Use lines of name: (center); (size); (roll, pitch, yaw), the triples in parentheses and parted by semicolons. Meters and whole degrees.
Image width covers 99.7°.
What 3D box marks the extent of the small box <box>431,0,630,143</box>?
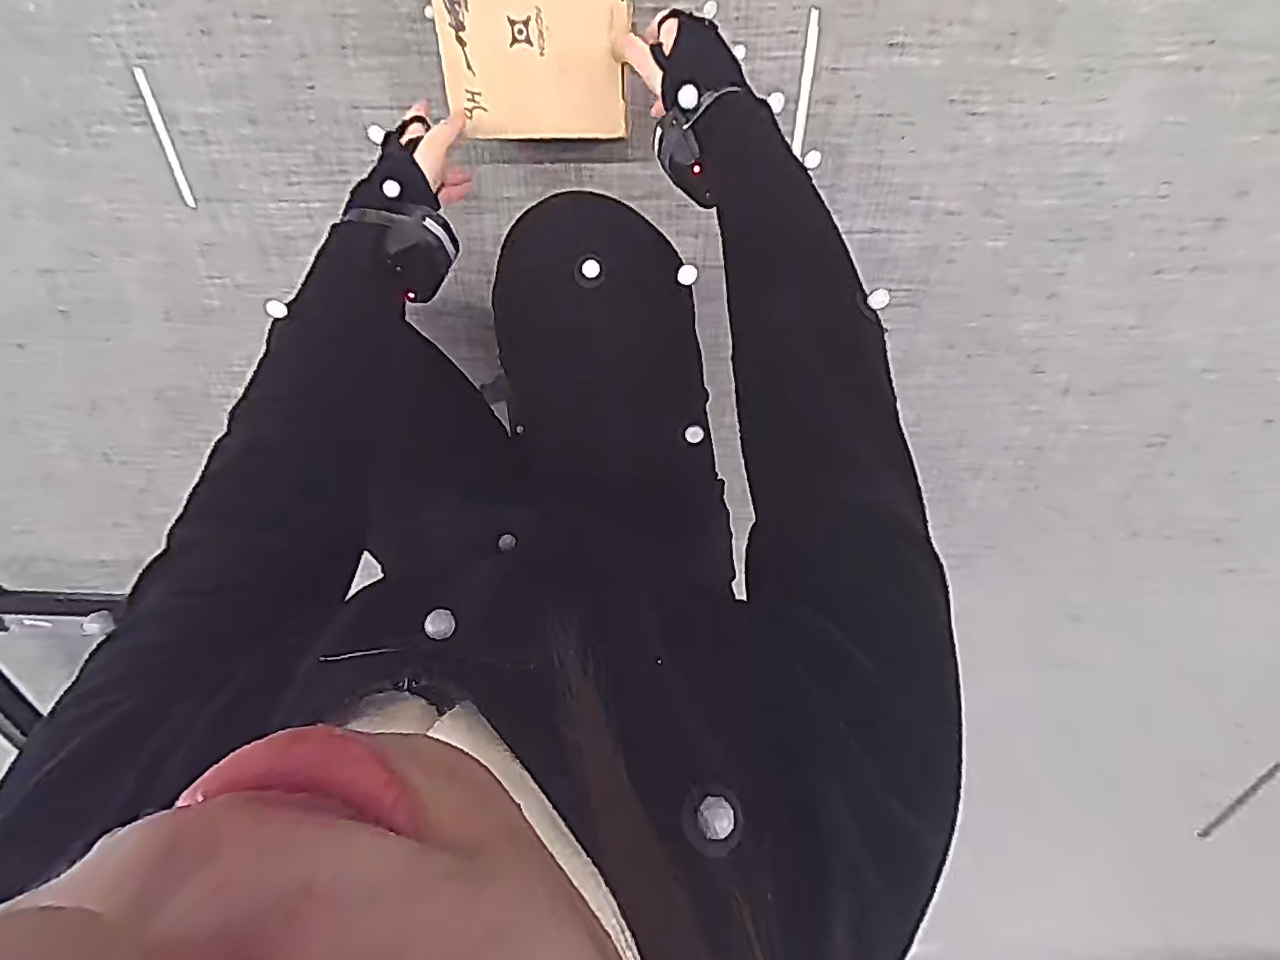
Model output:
small box: (-0.098, -0.445, 0.552); (0.179, 0.176, 0.168); (0, 122, 0)
